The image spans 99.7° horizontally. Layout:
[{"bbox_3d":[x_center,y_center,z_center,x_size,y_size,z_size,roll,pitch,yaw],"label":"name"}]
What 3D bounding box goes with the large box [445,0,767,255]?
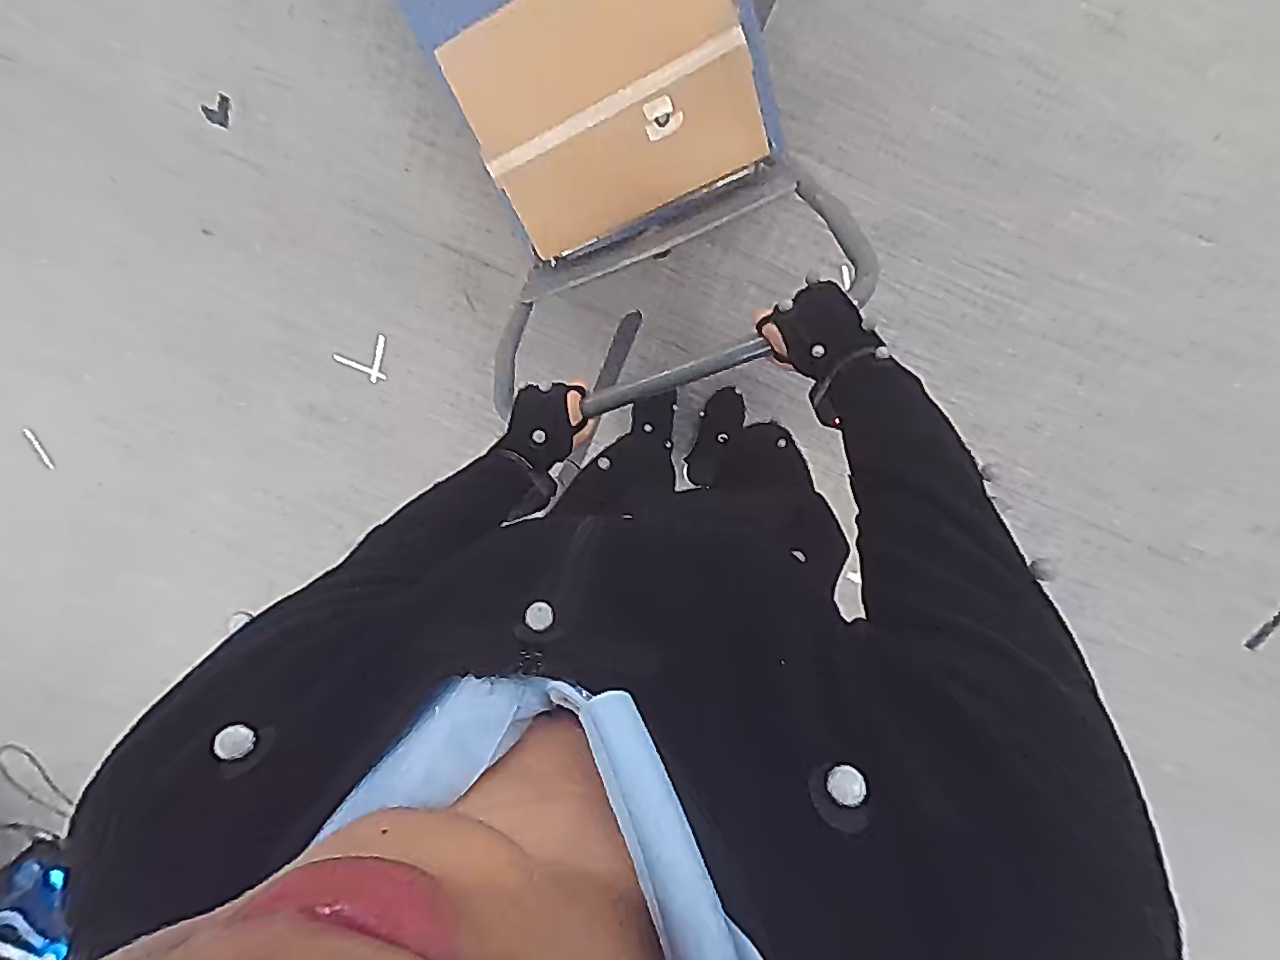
[{"bbox_3d":[-0.043,-0.651,0.926,0.408,0.320,0.320,-20,125,14],"label":"large box"}]
